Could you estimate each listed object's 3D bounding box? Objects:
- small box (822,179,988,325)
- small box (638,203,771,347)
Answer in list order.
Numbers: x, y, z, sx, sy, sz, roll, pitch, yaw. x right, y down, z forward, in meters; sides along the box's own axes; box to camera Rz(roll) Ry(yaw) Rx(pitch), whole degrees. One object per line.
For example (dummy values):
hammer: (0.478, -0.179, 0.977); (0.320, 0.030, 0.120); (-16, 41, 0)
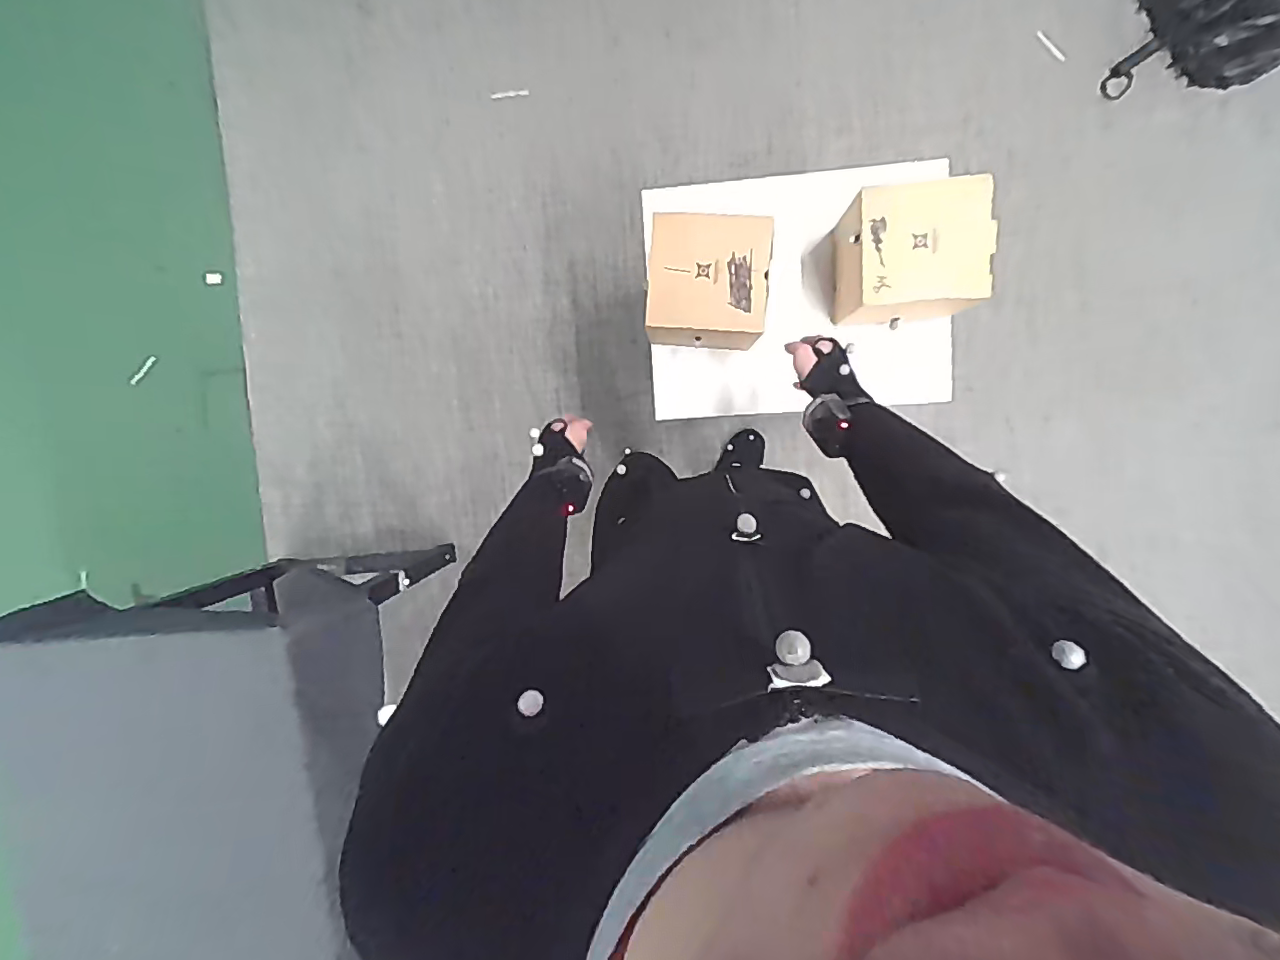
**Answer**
small box: (0.391, -0.336, 0.824); (0.179, 0.176, 0.168); (-2, 96, 3)
small box: (0.093, -0.306, 0.841); (0.179, 0.176, 0.168); (5, 95, 2)
